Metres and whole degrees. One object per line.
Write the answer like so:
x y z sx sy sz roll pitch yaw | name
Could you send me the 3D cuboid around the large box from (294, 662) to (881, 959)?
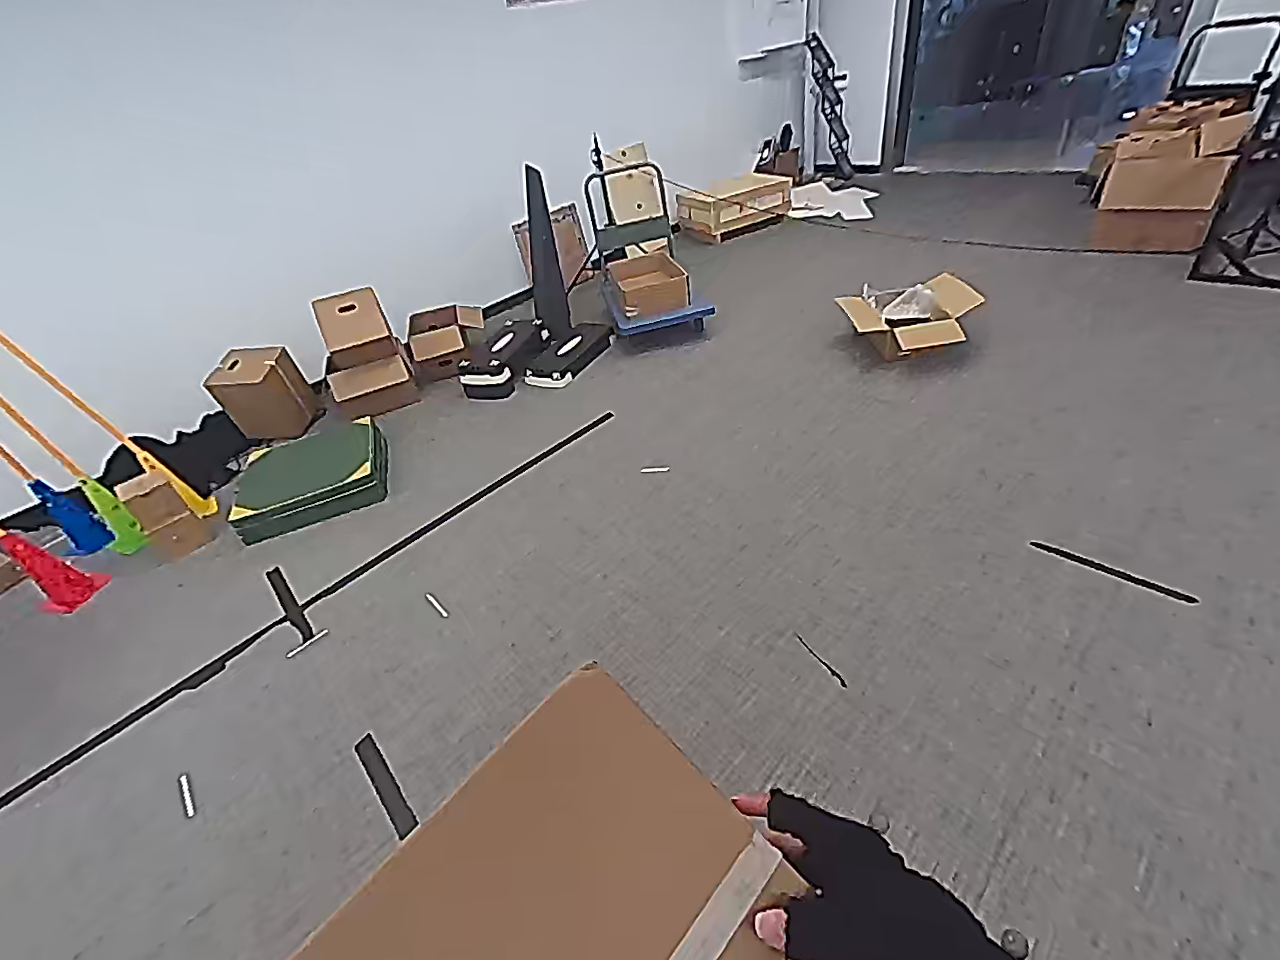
-0.083 0.411 0.382 0.320 0.320 0.408 43 63 12 | large box
